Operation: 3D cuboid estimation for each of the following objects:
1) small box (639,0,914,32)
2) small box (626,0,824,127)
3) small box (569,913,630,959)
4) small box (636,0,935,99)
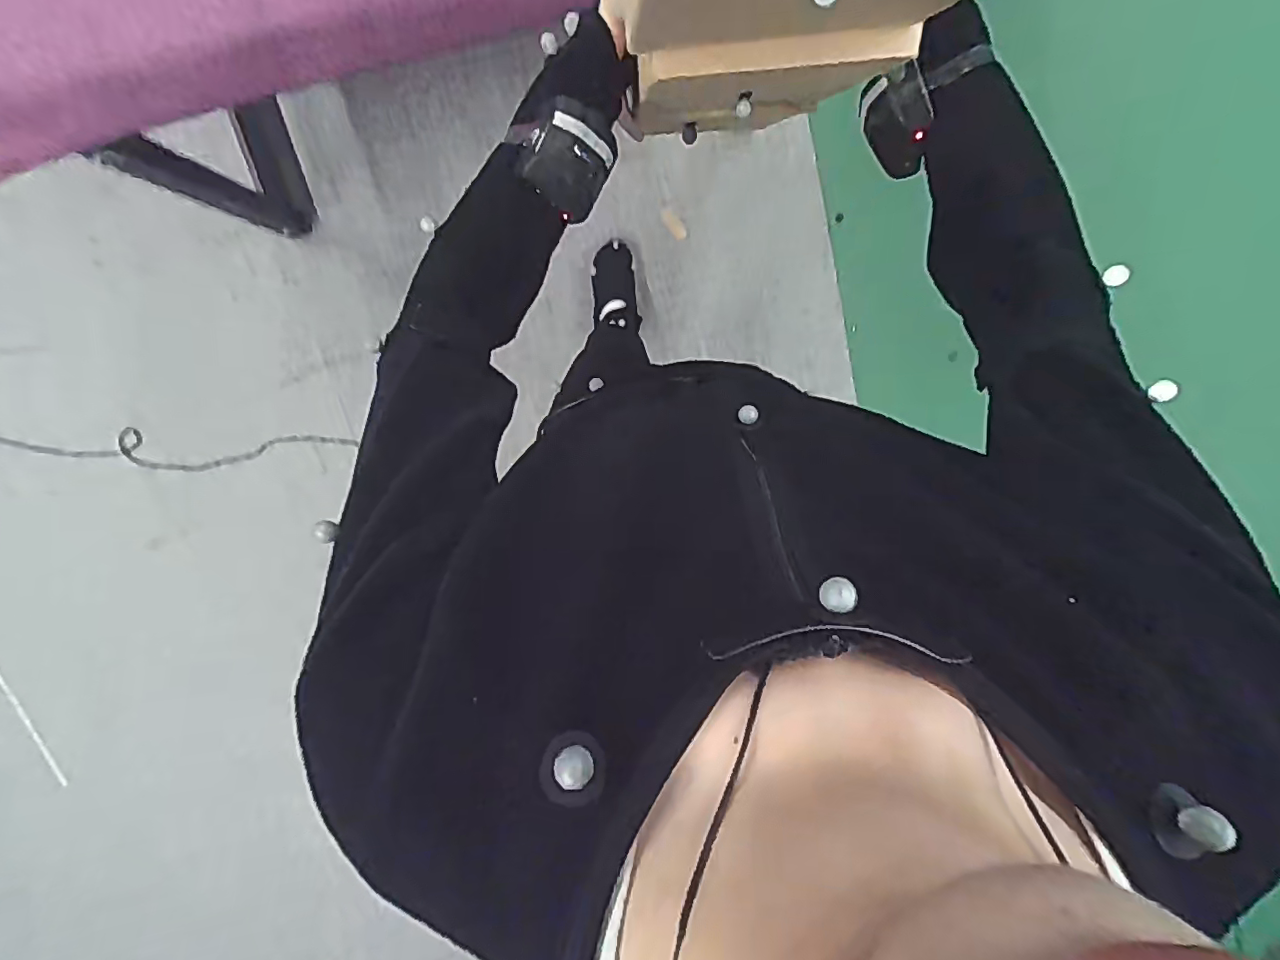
[{"bbox_3d":[0.081,-0.300,0.206,0.179,0.176,0.168,-7,118,-1],"label":"small box"},{"bbox_3d":[0.073,-0.439,0.504,0.168,0.176,0.179,-4,117,-1],"label":"small box"},{"bbox_3d":[-0.115,1.348,1.488,0.168,0.176,0.179,4,101,-3],"label":"small box"},{"bbox_3d":[0.083,-0.367,0.356,0.168,0.176,0.179,-6,117,-1],"label":"small box"}]
